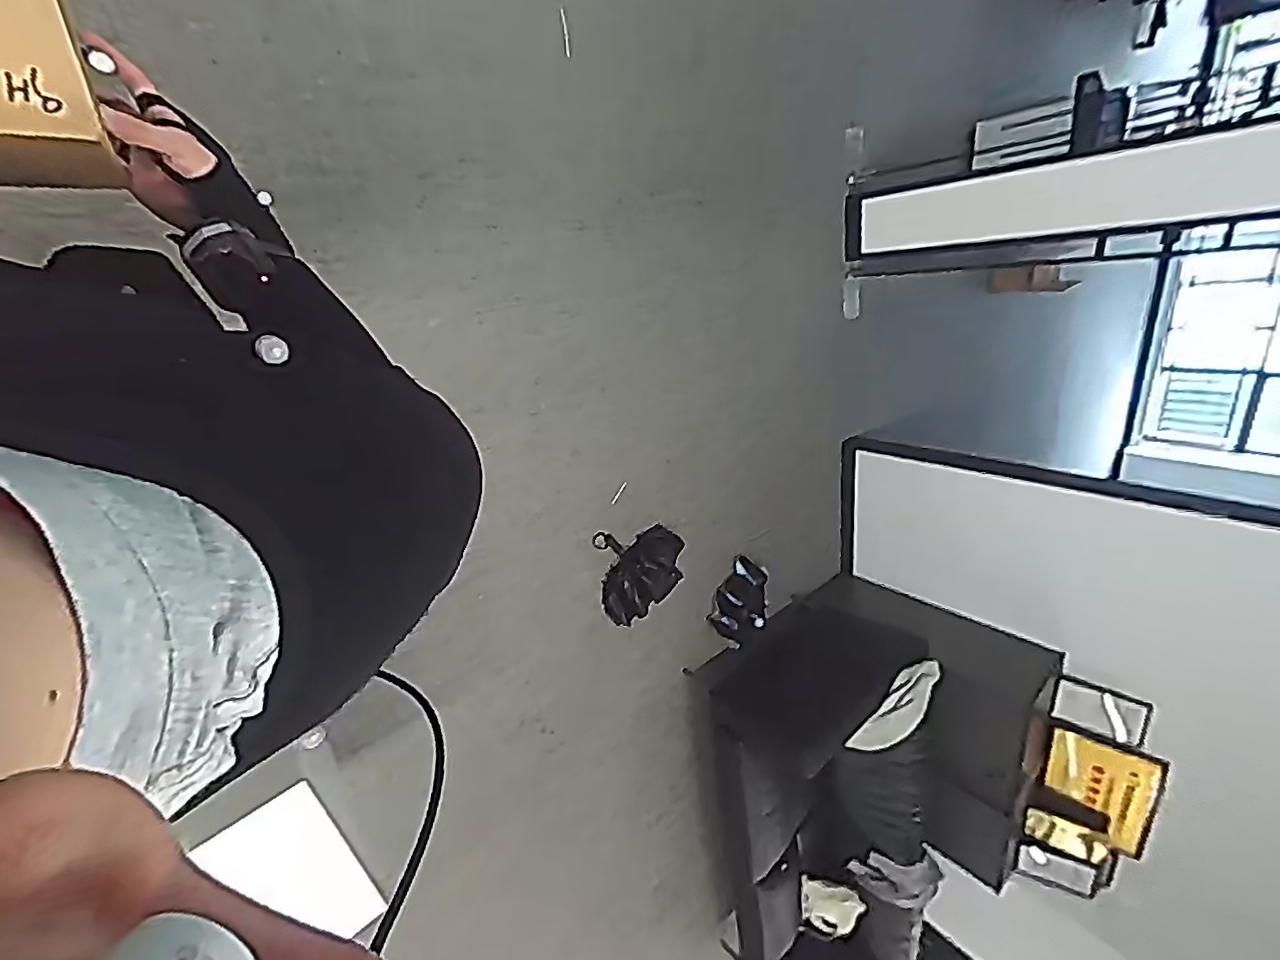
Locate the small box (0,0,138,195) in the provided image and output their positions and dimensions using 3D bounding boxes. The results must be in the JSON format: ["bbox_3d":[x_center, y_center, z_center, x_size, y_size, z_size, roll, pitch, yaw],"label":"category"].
[{"bbox_3d":[-0.478,-0.306,0.362,0.168,0.176,0.179,-20,114,-34],"label":"small box"}]
